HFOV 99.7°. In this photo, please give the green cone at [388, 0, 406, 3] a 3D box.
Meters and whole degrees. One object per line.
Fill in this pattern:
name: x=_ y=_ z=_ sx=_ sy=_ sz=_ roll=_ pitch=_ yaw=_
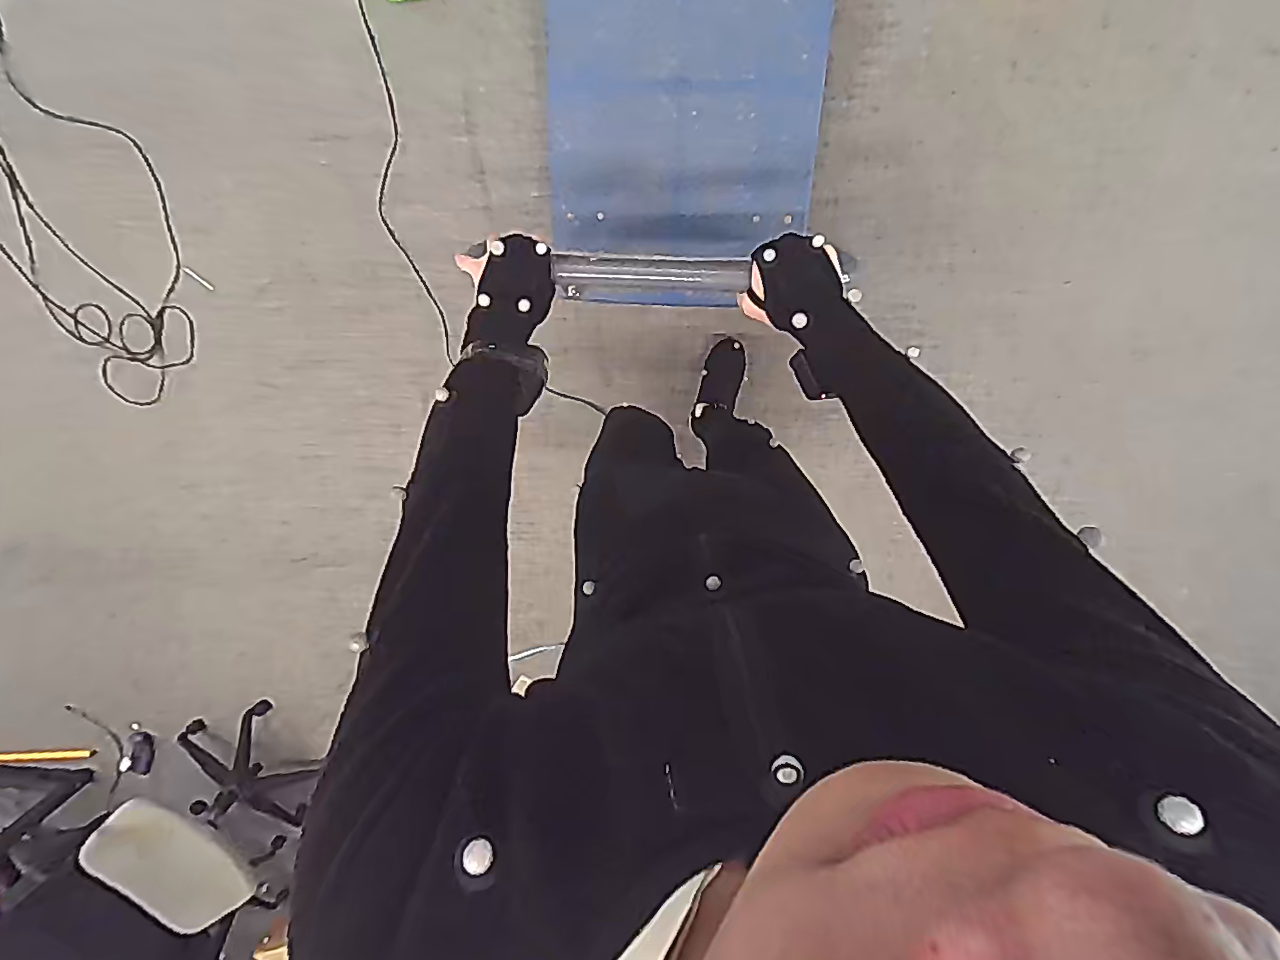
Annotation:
green cone: x=-0.533 y=-1.154 z=1.061 sx=0.202 sy=0.368 sz=0.200 roll=-1 pitch=110 yaw=8
